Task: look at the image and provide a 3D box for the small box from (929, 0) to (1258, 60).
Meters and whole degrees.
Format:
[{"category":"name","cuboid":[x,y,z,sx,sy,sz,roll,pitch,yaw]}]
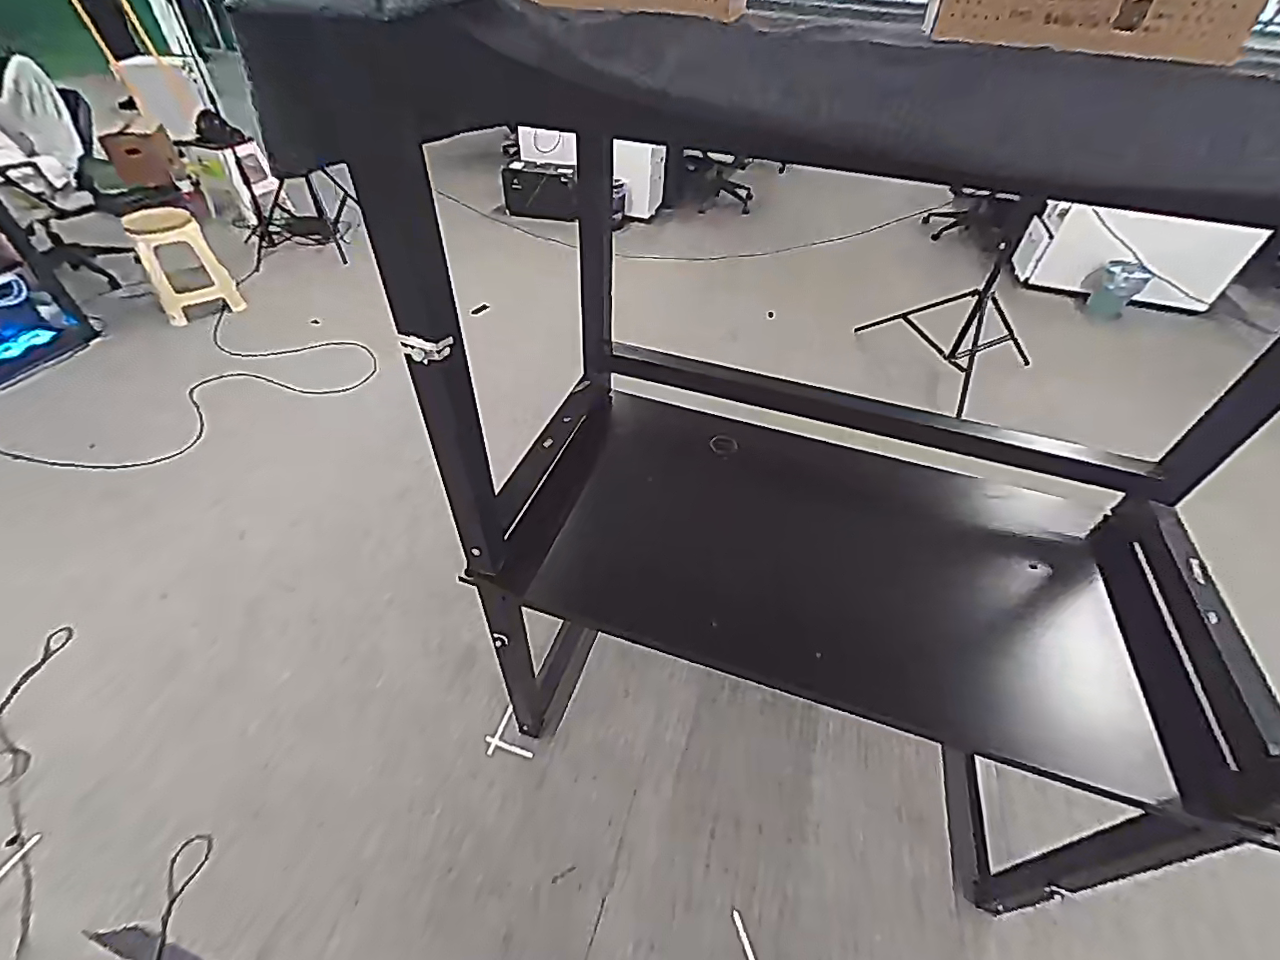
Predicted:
[{"category":"small box","cuboid":[0.296,-0.377,0.332,0.168,0.176,0.179,16,44,13]}]
